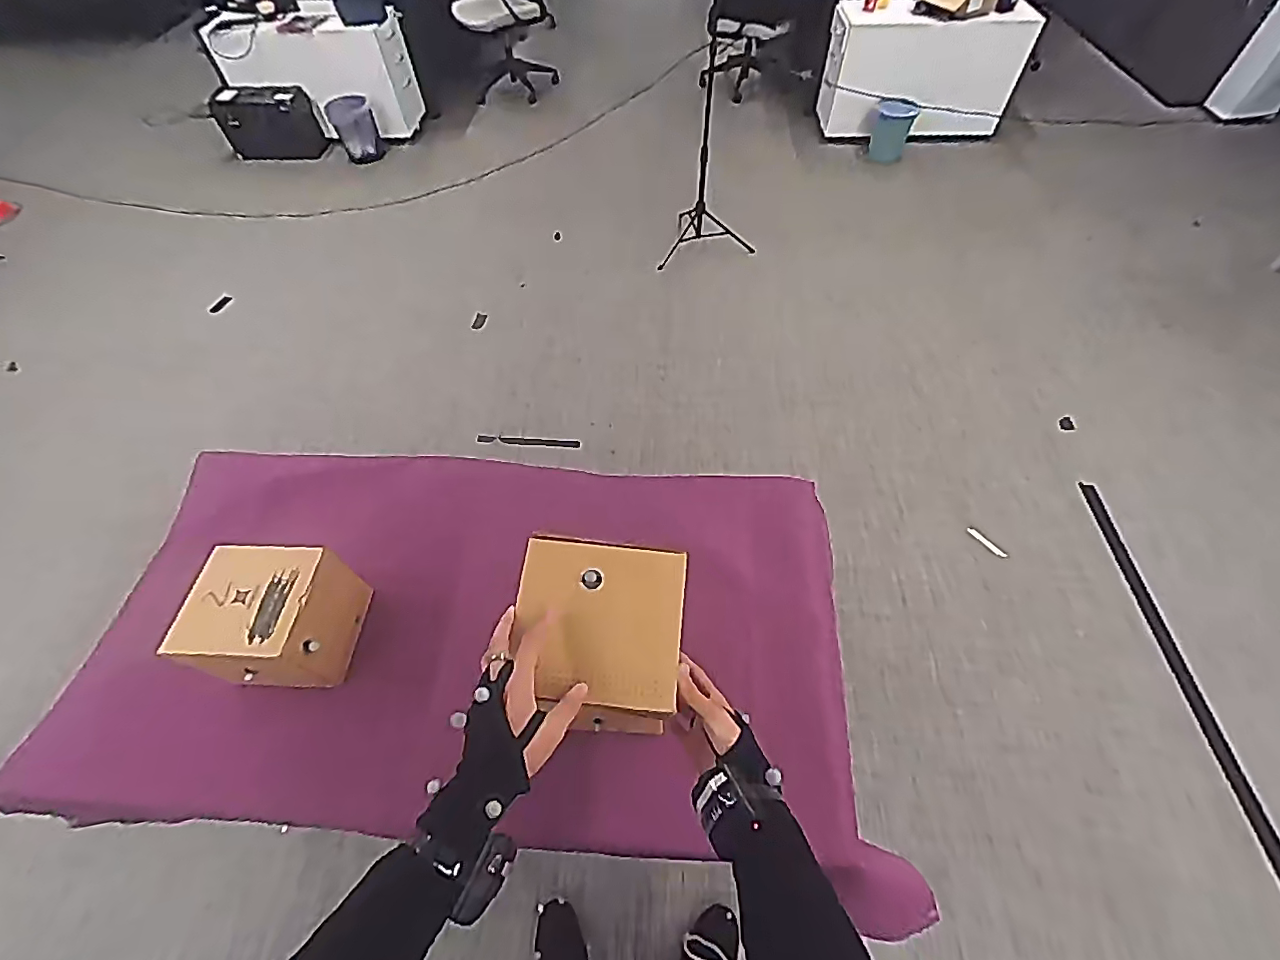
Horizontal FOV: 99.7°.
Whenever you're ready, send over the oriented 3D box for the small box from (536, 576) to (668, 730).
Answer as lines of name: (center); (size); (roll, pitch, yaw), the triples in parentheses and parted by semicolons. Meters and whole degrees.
small box: (-0.044, 0.259, 0.795); (0.168, 0.176, 0.179); (3, 55, 3)
